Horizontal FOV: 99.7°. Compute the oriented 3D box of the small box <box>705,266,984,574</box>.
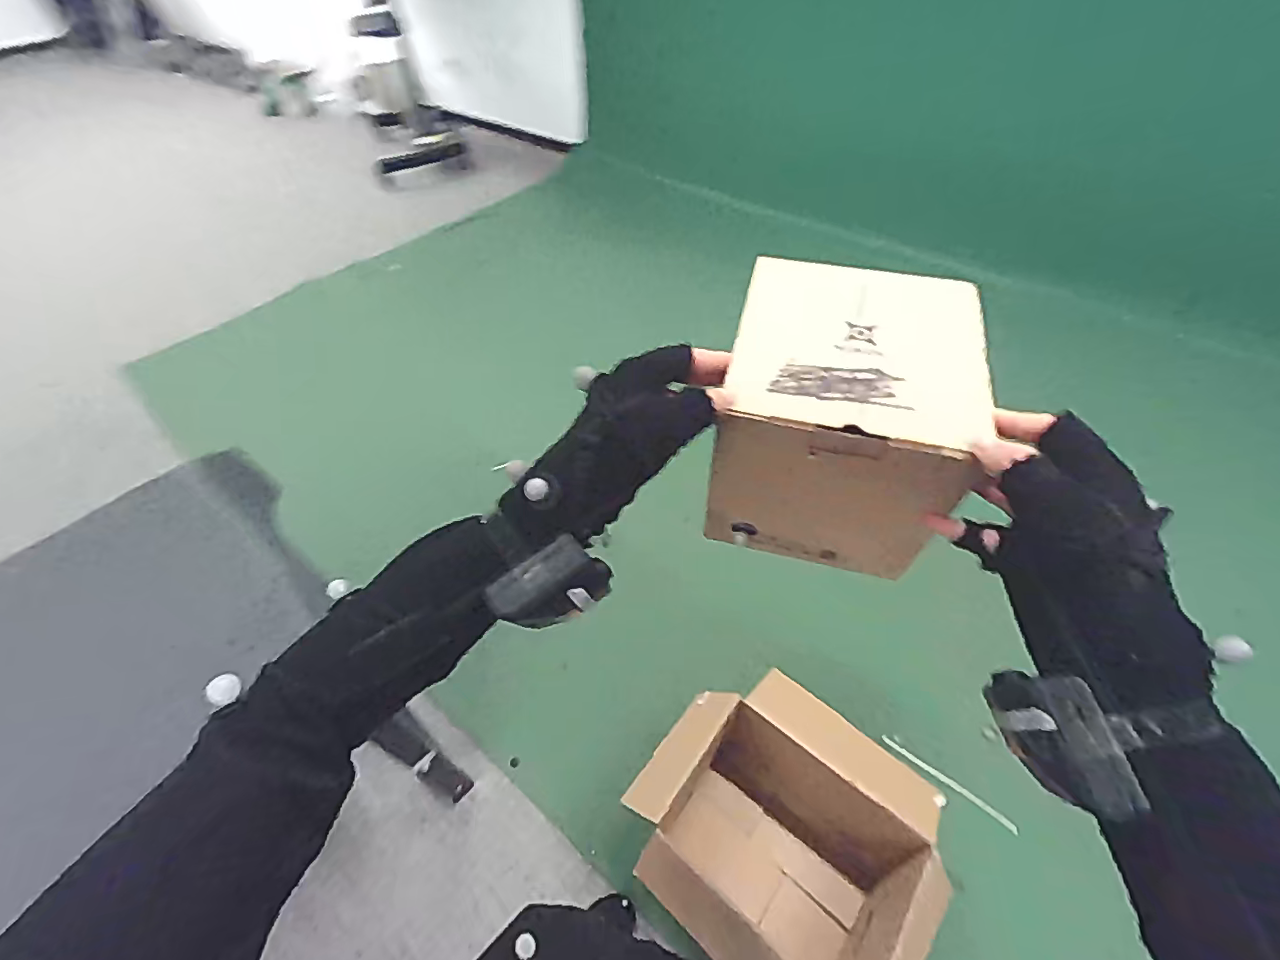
[{"bbox_3d":[0.150,-0.045,0.444,0.168,0.176,0.179,11,55,10],"label":"small box"}]
